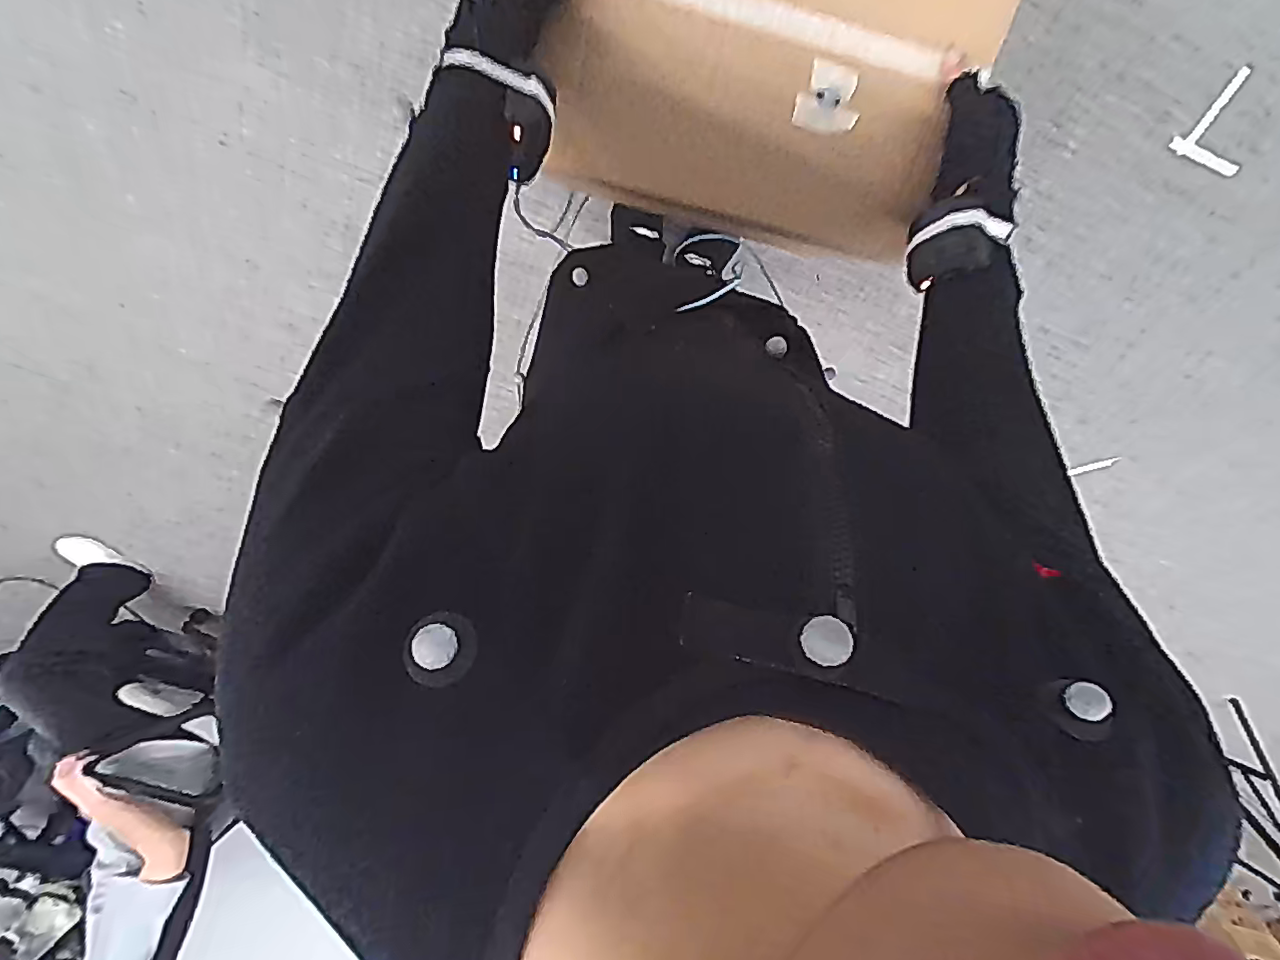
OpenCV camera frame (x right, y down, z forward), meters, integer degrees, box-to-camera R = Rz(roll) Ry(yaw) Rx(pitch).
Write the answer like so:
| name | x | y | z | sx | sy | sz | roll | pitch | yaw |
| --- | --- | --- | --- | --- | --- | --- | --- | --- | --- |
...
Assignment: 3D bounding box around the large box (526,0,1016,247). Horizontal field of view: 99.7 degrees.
| name | x | y | z | sx | sy | sz | roll | pitch | yaw |
| --- | --- | --- | --- | --- | --- | --- | --- | --- | --- |
| large box | 0.114 | -0.471 | 0.601 | 0.408 | 0.320 | 0.320 | 12 | 114 | -7 |
